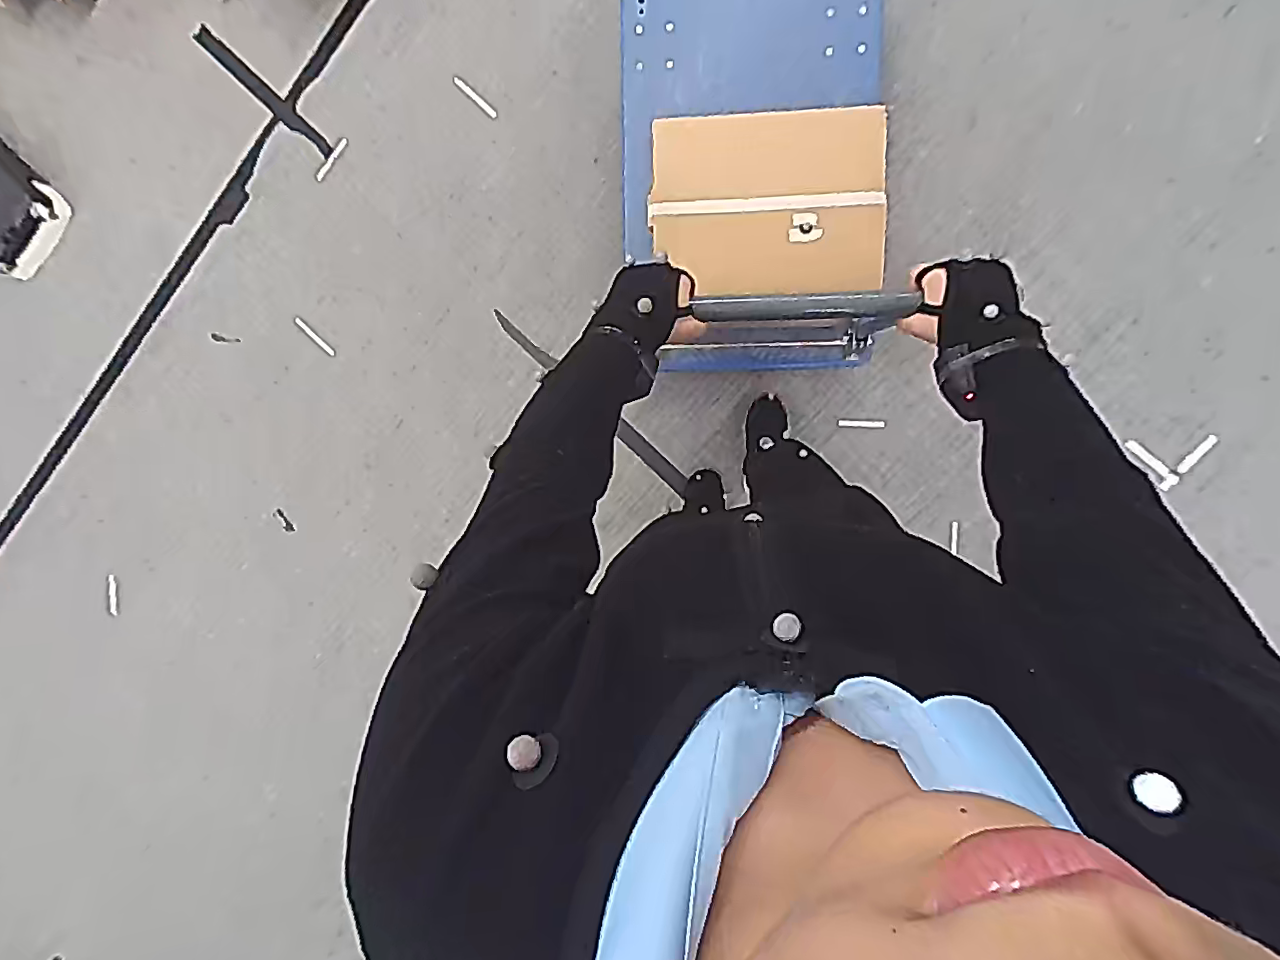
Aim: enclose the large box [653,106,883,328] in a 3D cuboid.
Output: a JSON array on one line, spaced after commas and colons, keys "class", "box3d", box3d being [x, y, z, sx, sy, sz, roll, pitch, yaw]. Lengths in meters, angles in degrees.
[{"class": "large box", "box3d": [0.235, -0.502, 1.107, 0.408, 0.320, 0.320, 0, 96, 4]}]
